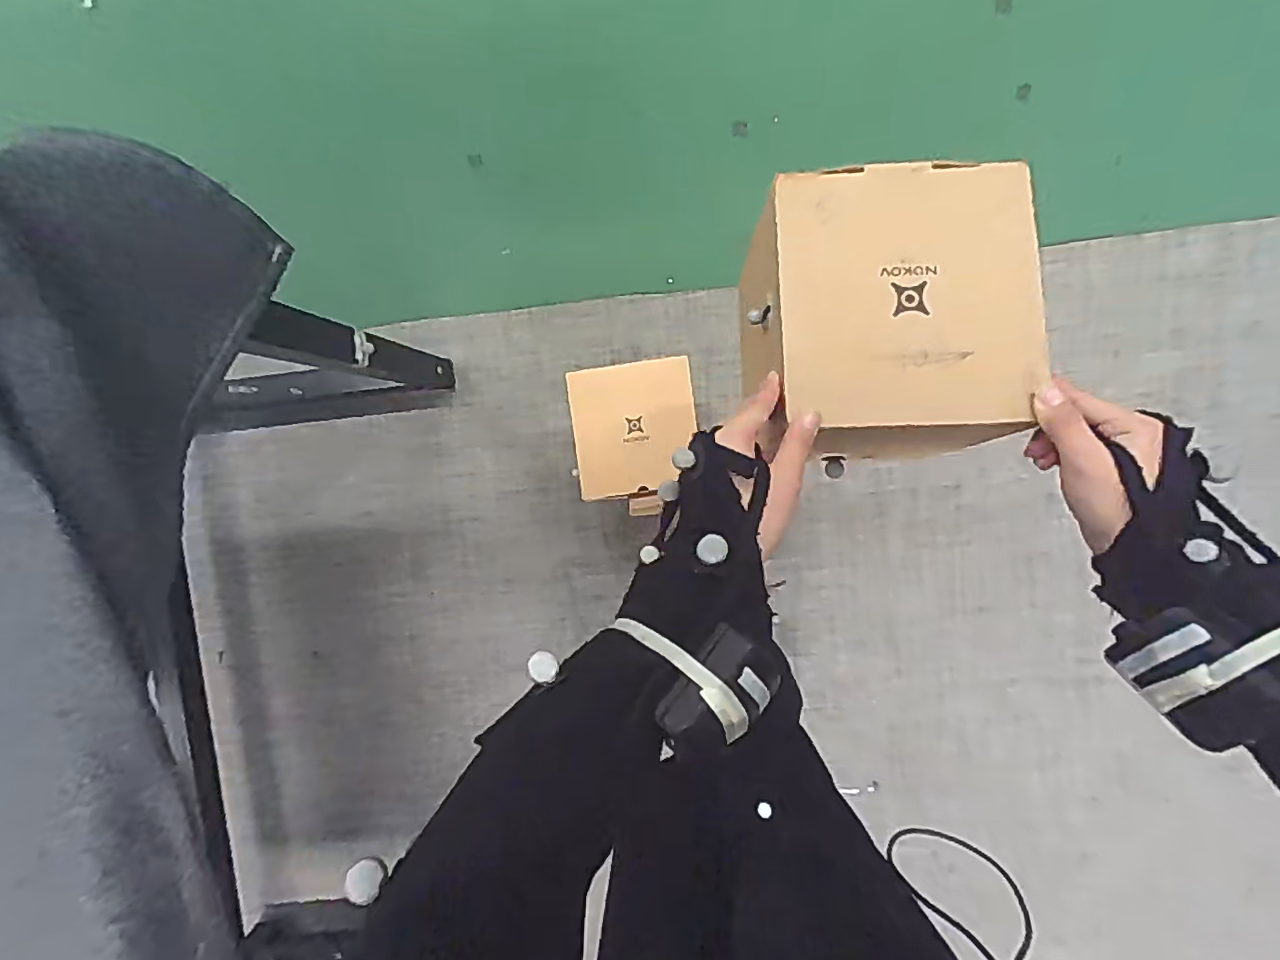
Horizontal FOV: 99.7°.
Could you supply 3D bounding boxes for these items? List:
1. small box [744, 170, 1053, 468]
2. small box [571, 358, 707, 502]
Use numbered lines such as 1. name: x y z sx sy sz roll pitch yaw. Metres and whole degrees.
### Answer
1. small box: 0.179 -0.109 0.431 0.168 0.176 0.179 -2 84 3
2. small box: 0.002 -0.069 0.794 0.168 0.176 0.179 -8 93 4
